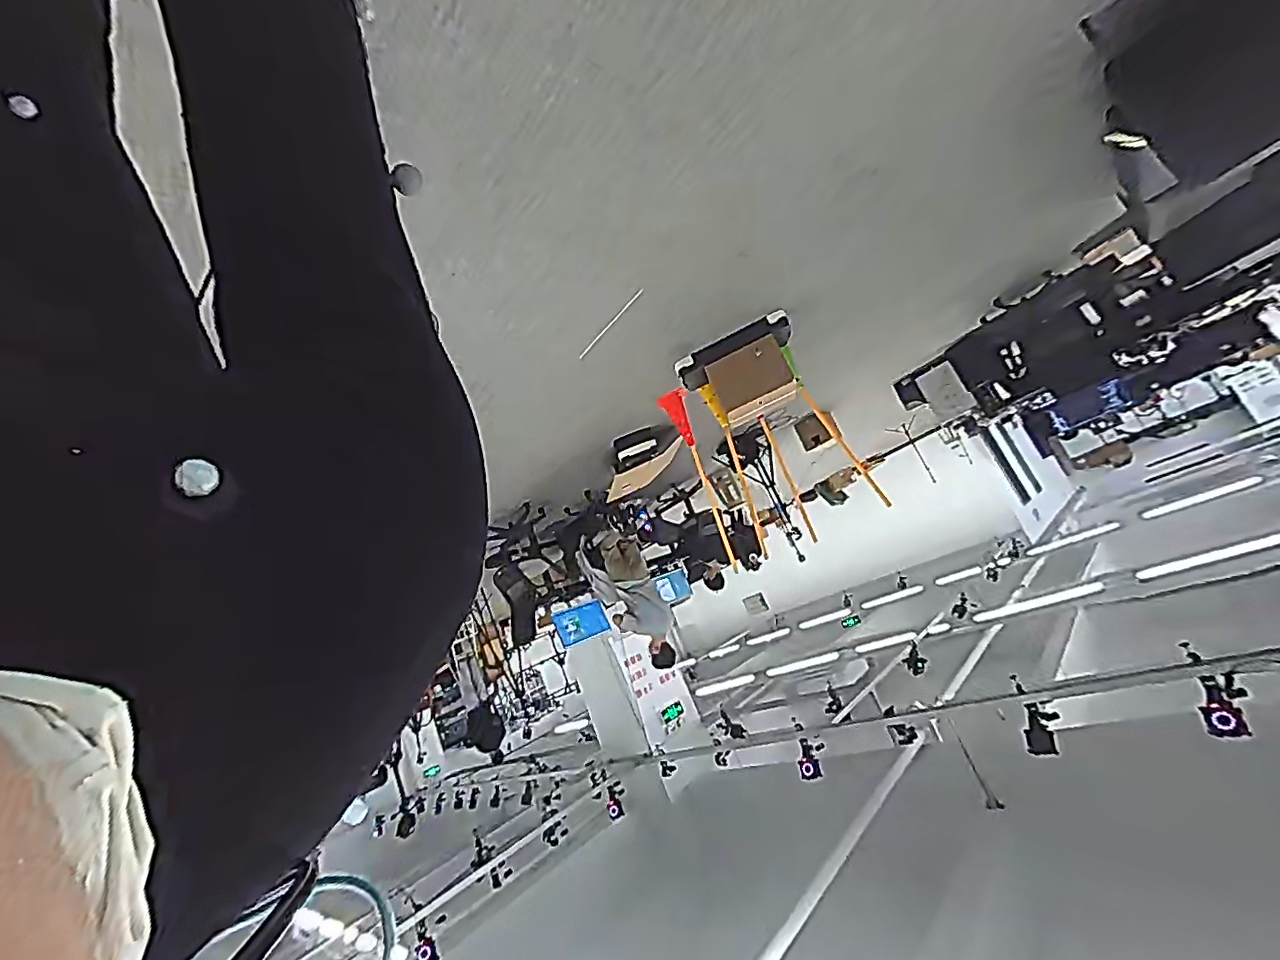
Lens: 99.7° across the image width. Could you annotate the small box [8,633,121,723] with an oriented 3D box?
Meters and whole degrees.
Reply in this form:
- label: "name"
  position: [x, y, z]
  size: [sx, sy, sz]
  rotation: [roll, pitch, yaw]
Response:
- label: "small box"
  position: [-1.486, 0.511, 1.404]
  size: [0.168, 0.176, 0.179]
  rotation: [-14, 166, -38]
